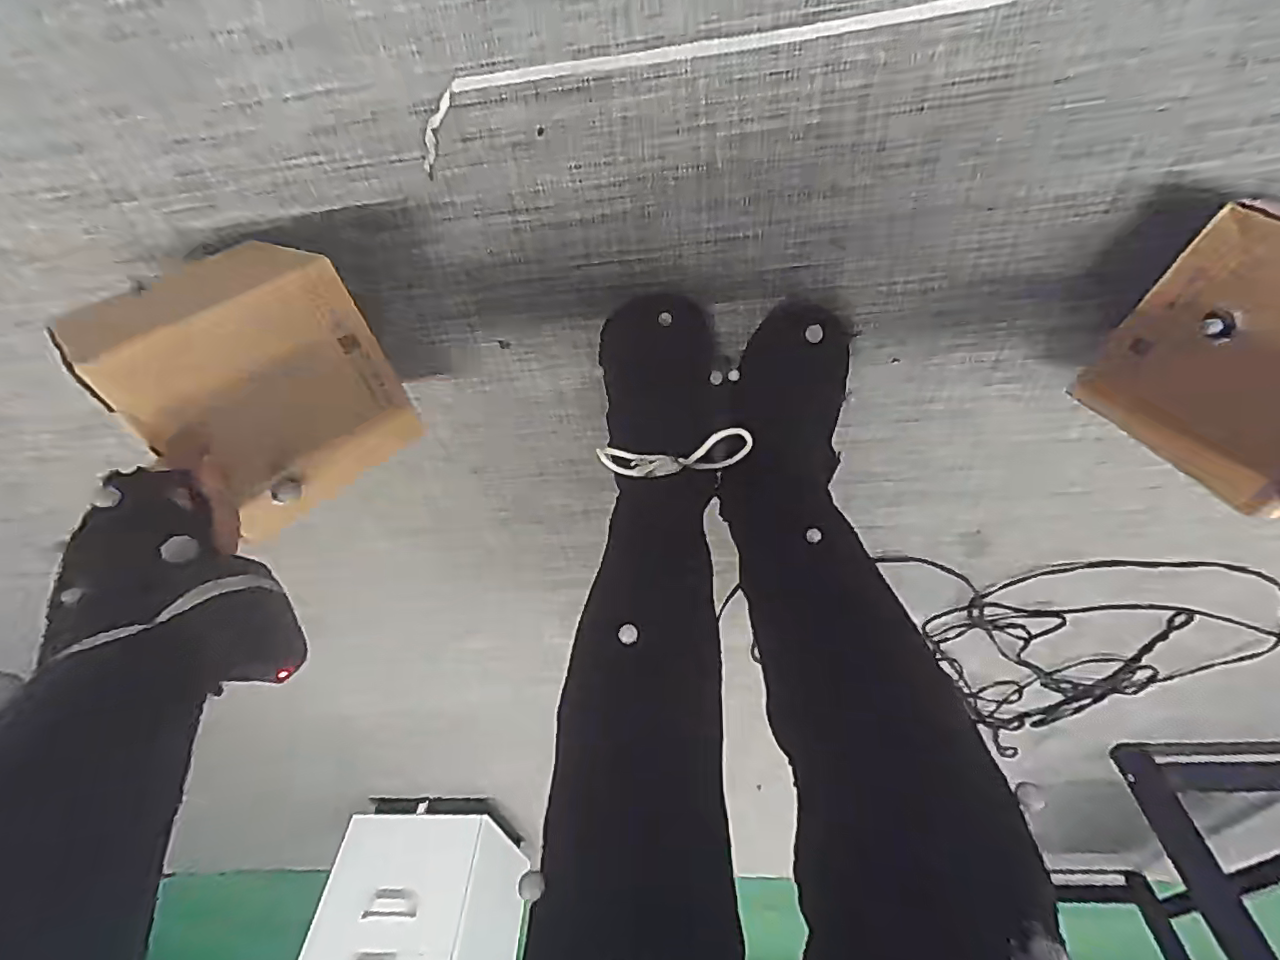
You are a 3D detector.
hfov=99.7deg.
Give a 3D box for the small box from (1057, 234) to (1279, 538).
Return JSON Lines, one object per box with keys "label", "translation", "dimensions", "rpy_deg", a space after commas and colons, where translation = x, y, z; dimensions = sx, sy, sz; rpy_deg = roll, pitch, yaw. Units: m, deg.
{"label": "small box", "translation": [0.504, -0.077, 0.430], "dimensions": [0.179, 0.176, 0.168], "rpy_deg": [-5, 136, -20]}
